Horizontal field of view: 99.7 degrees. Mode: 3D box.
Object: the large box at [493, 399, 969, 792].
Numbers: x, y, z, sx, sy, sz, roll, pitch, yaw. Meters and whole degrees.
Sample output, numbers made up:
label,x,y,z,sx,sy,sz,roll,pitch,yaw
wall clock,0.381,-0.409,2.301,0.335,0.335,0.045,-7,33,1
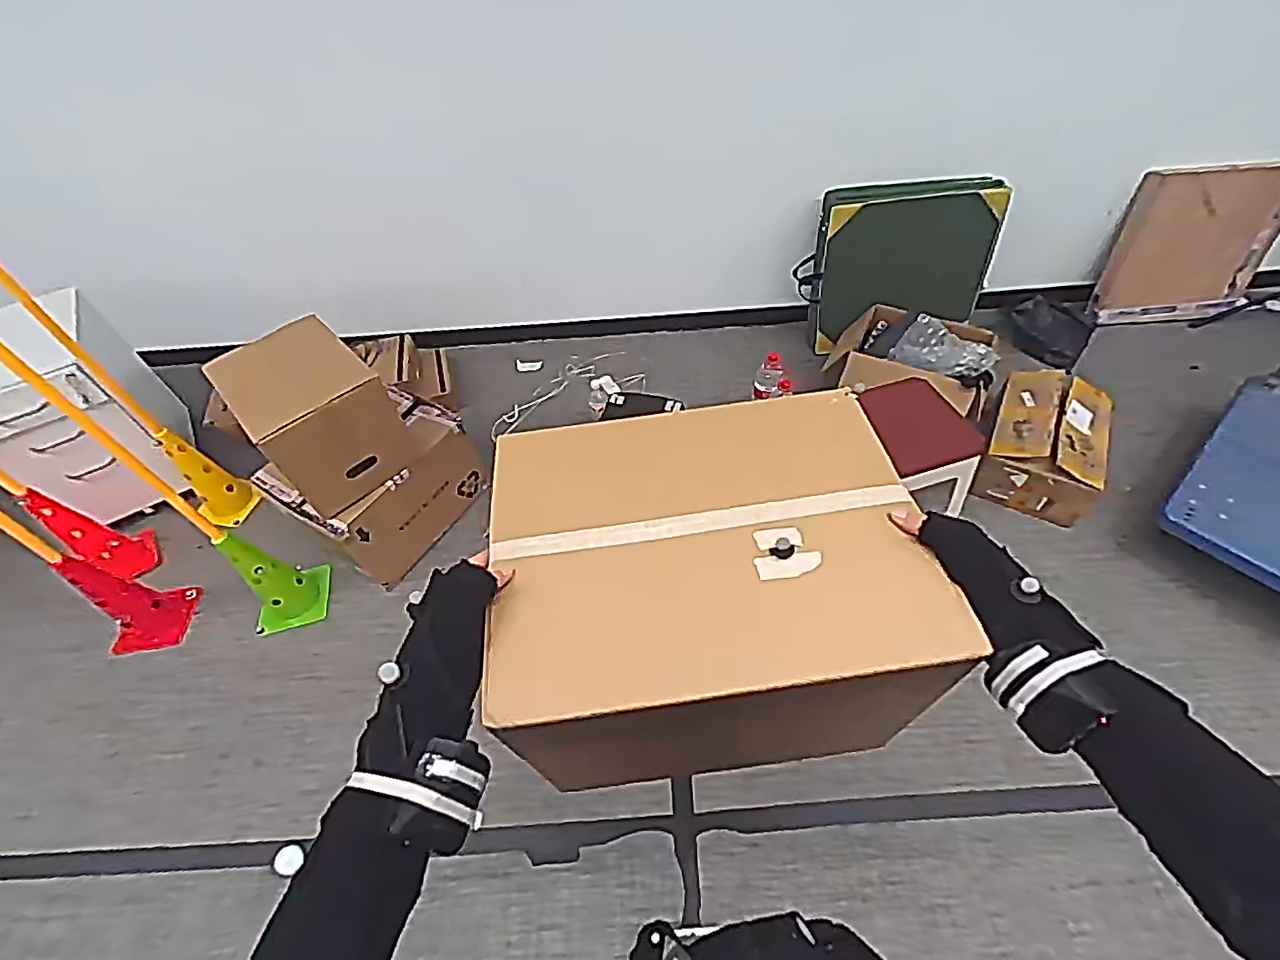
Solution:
label,x,y,z,sx,sy,sz,roll,pitch,yaw
large box,0.067,0.143,0.644,0.408,0.320,0.320,-8,51,-1
